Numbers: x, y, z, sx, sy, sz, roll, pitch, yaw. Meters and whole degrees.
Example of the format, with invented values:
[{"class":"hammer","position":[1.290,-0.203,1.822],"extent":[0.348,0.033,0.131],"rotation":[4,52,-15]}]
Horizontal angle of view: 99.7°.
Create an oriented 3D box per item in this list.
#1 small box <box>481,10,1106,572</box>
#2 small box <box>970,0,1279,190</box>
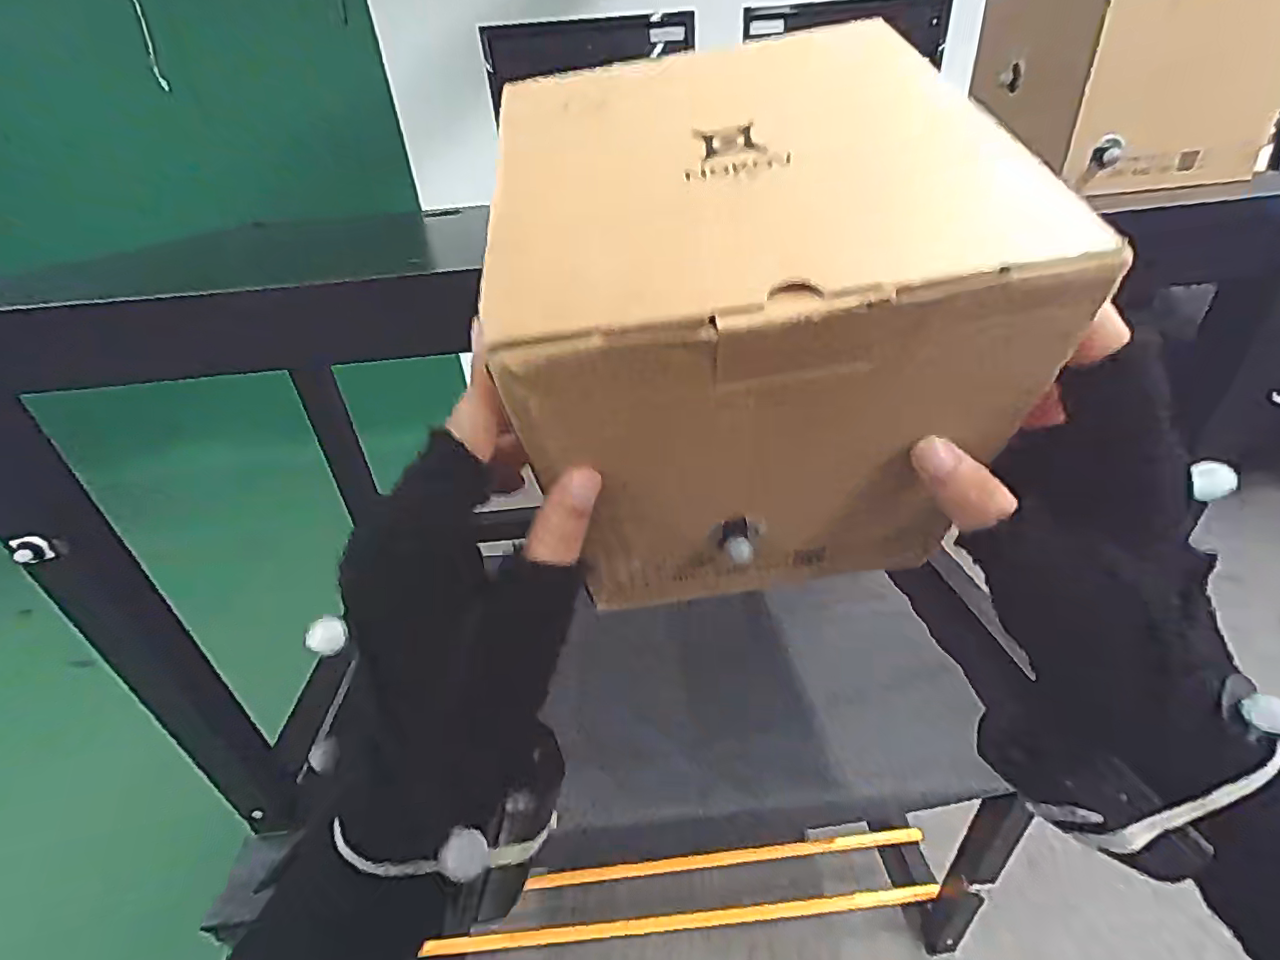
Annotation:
[{"class":"small box","position":[0.039,-0.079,0.253],"extent":[0.168,0.176,0.179],"rotation":[-8,55,2]},{"class":"small box","position":[0.423,-0.361,0.493],"extent":[0.168,0.176,0.179],"rotation":[-4,30,2]}]
